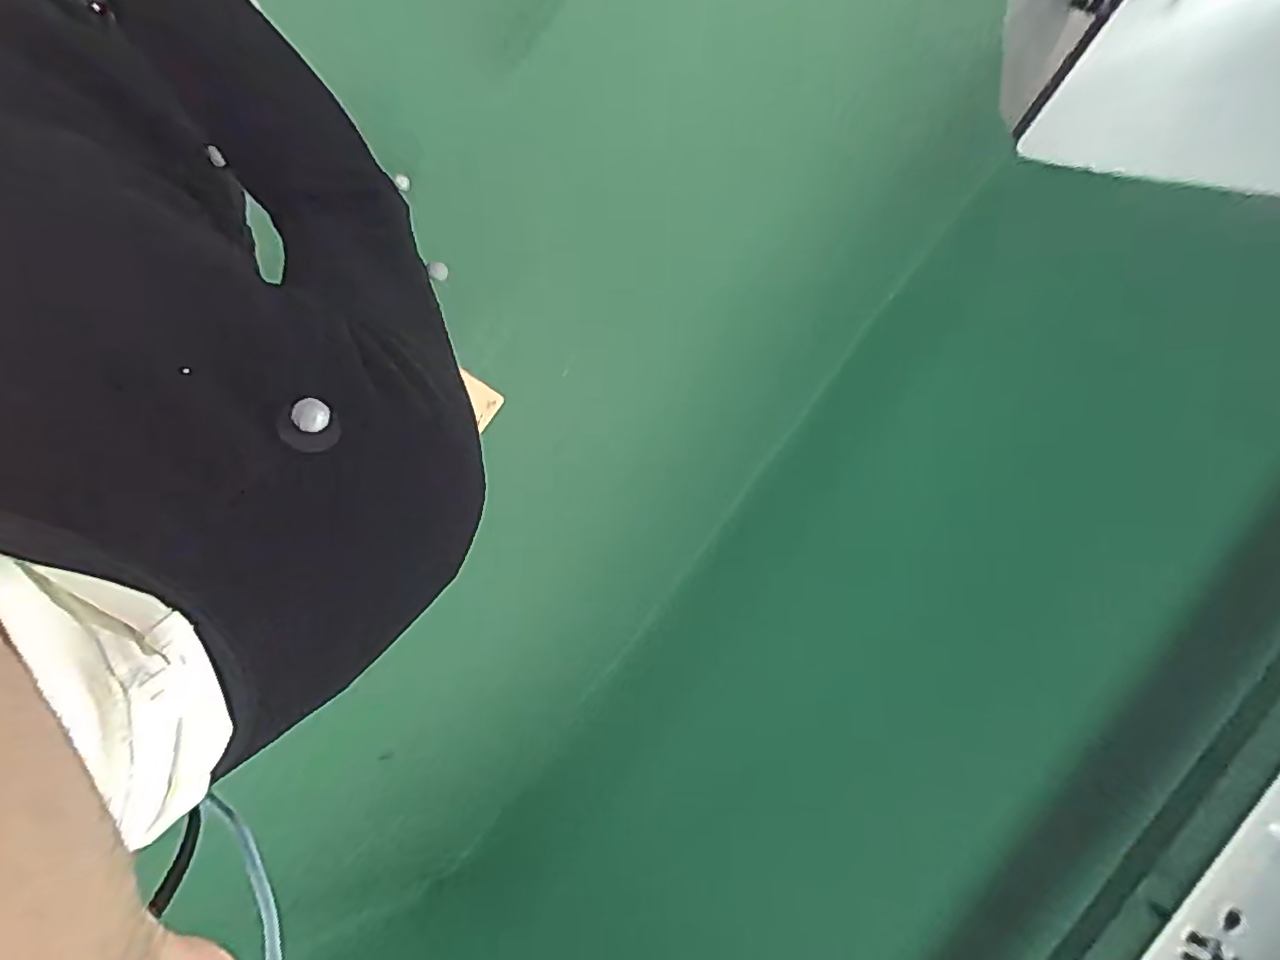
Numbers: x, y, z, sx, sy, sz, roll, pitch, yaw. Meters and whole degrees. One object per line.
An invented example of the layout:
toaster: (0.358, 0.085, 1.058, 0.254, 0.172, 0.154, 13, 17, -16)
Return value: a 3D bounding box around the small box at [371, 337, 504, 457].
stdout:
small box: (-0.434, -0.182, 1.152, 0.168, 0.176, 0.179, -53, 143, 0)
